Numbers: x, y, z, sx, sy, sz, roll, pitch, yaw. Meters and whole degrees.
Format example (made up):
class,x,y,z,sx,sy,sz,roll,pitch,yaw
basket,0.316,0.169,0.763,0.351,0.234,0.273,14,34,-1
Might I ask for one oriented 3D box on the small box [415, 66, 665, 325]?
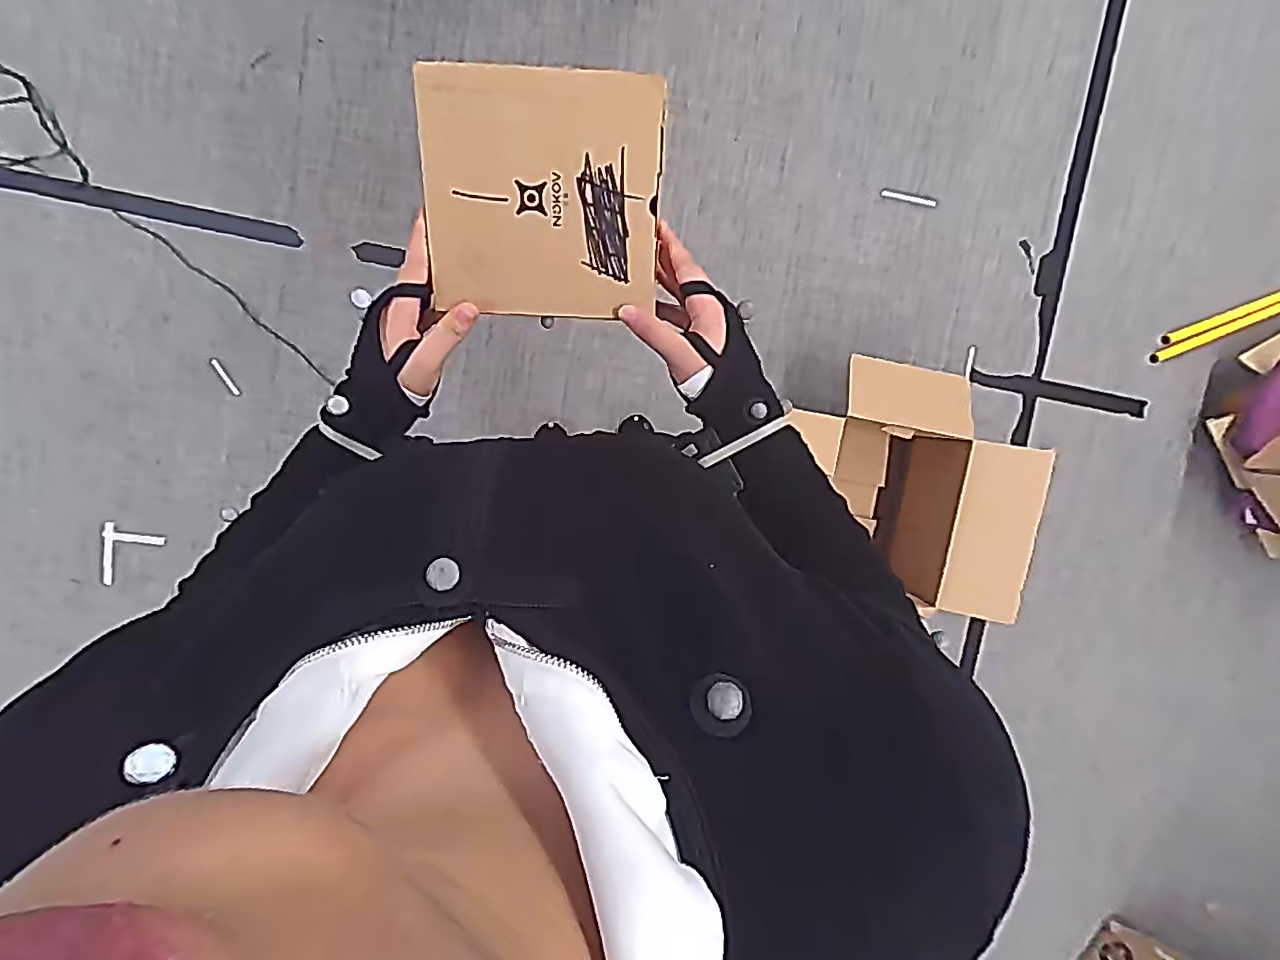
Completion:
class,x,y,z,sx,sy,sz,roll,pitch,yaw
small box,-0.075,-0.234,0.477,0.179,0.176,0.168,2,111,-2
